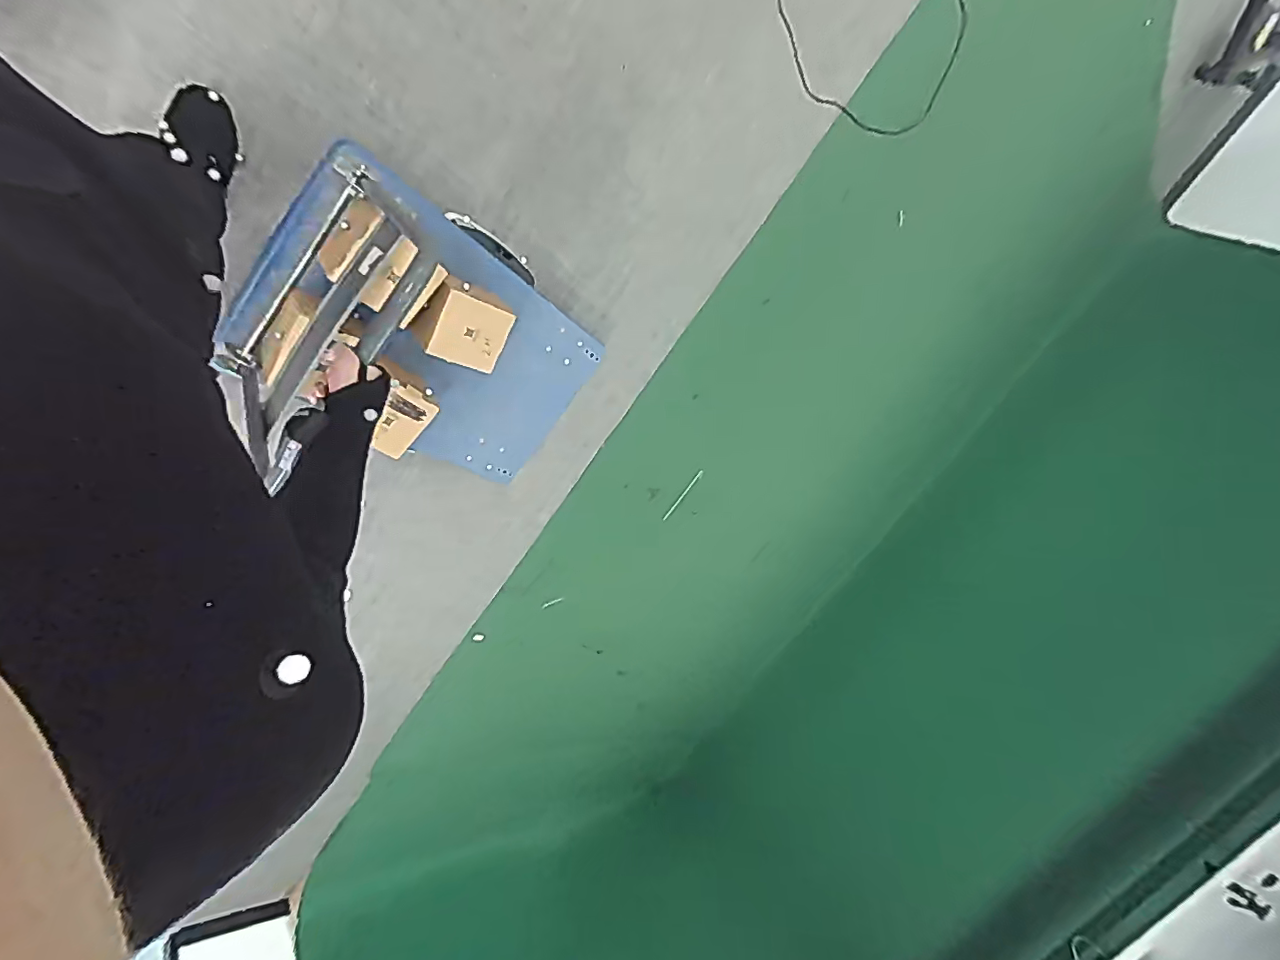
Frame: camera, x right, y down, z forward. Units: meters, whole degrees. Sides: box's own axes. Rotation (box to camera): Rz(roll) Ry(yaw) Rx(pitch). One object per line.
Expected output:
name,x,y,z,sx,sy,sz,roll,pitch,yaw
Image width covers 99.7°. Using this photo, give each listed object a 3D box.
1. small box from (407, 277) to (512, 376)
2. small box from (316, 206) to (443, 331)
small box,-0.457,-0.387,1.350,0.179,0.176,0.168,13,115,-45
small box,-0.575,-0.467,1.188,0.168,0.176,0.179,-48,139,5
